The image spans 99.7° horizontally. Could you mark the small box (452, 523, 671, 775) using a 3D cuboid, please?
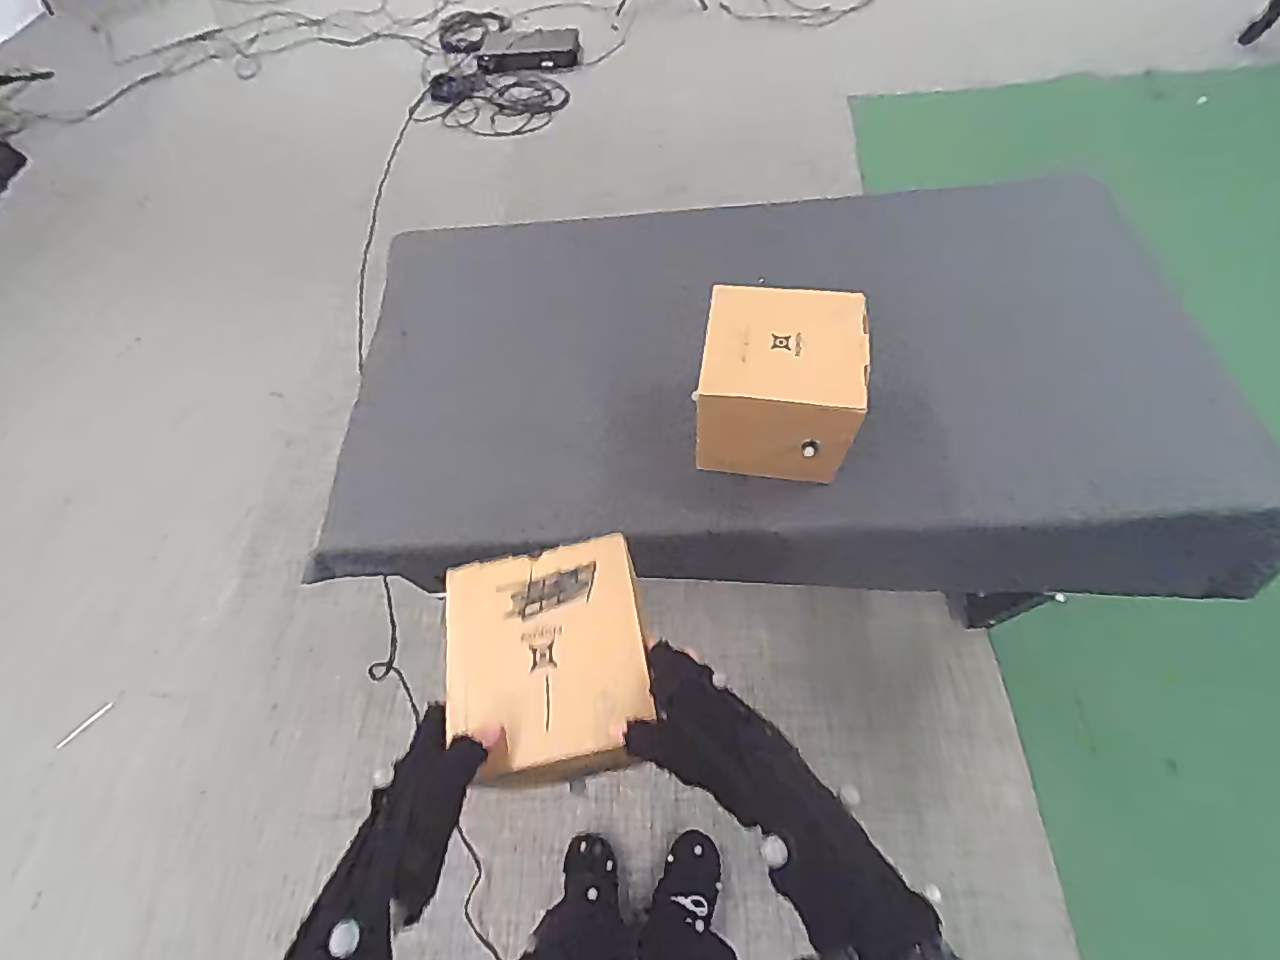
[{"bbox_3d":[-0.068,0.167,0.518,0.168,0.176,0.179,-12,58,-1],"label":"small box"}]

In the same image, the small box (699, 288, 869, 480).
[{"bbox_3d":[0.170,-0.112,0.674,0.179,0.176,0.168,6,62,9],"label":"small box"}]
